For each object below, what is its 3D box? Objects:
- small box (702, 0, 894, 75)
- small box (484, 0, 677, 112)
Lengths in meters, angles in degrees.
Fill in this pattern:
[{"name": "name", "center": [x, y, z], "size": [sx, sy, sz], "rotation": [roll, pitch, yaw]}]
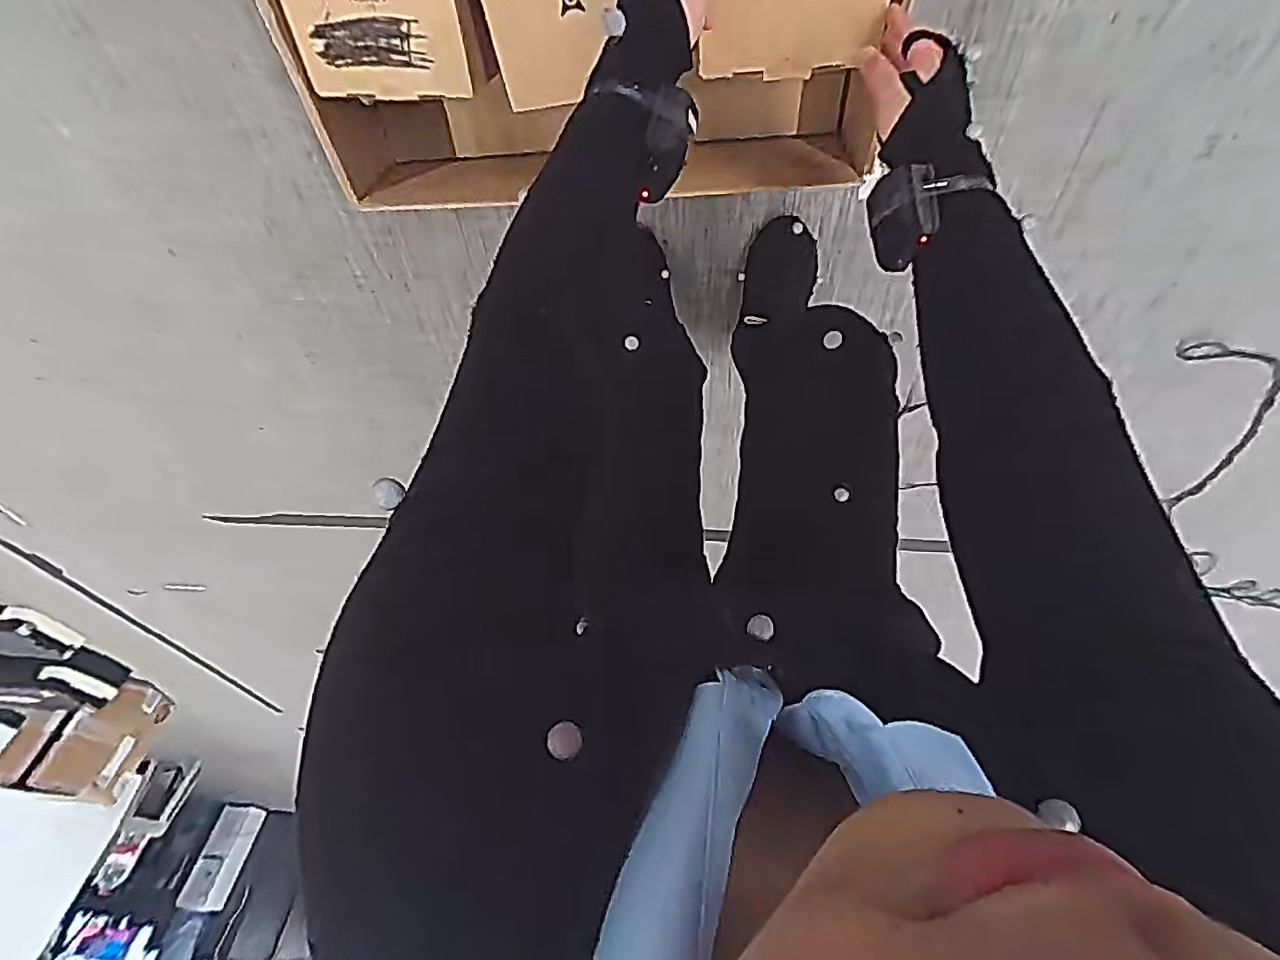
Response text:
[{"name": "small box", "center": [0.141, -0.500, 0.492], "size": [0.168, 0.176, 0.179], "rotation": [2, 139, 8]}, {"name": "small box", "center": [-0.053, -0.492, 0.524], "size": [0.168, 0.176, 0.179], "rotation": [-3, 138, 9]}]
